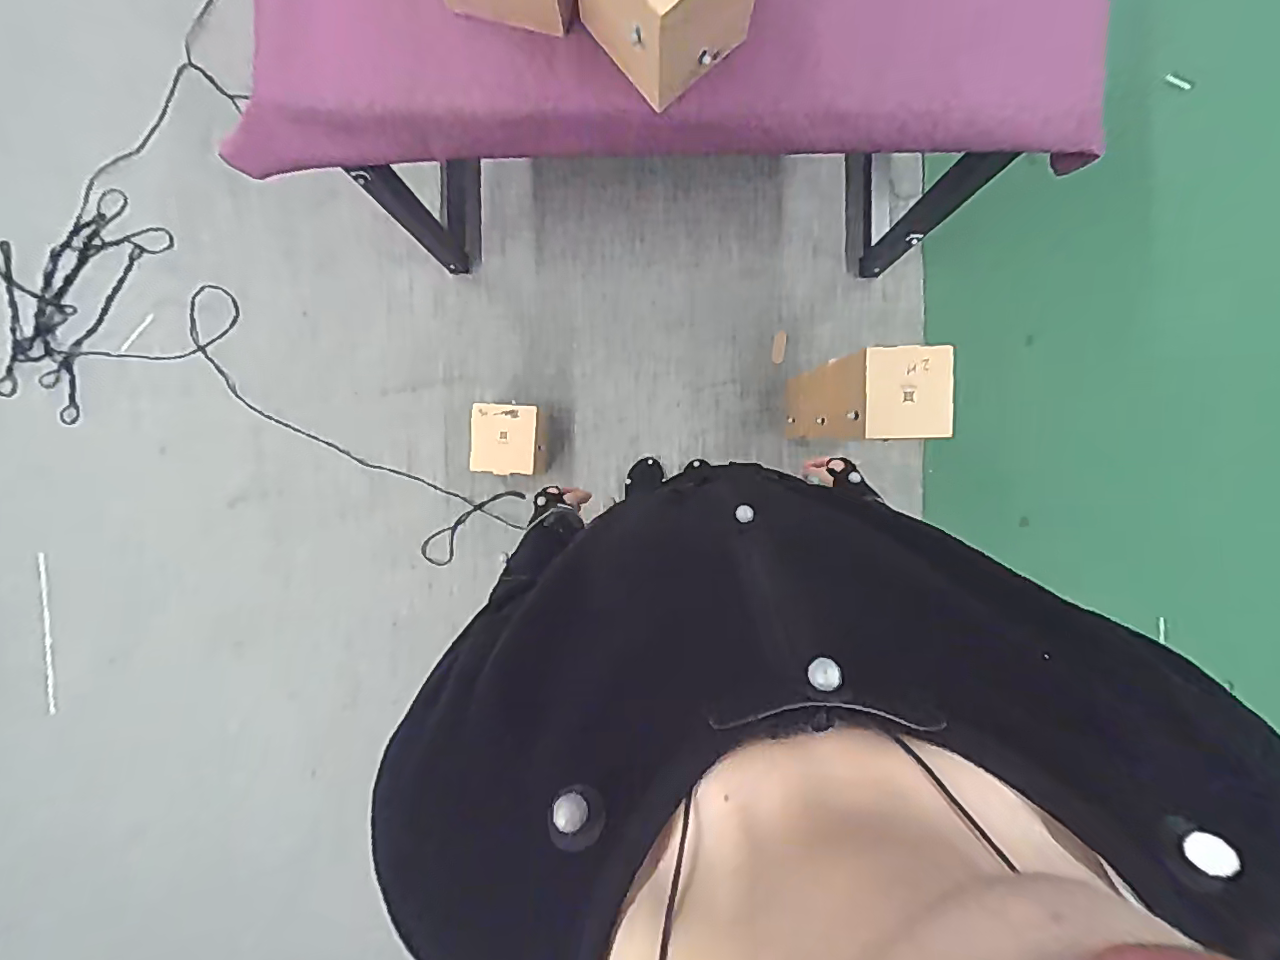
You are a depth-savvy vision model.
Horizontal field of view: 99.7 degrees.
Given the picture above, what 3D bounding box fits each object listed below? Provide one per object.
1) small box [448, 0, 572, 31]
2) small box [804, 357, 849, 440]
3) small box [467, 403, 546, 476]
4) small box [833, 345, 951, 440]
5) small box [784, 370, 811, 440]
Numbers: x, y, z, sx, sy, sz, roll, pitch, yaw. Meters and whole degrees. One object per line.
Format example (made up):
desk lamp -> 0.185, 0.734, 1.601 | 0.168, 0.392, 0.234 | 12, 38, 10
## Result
small box -> -0.176, -0.730, 0.691 | 0.179, 0.176, 0.168 | 13, 92, 0
small box -> 0.488, -0.184, 1.259 | 0.168, 0.176, 0.179 | -1, 93, 1
small box -> -0.348, -0.105, 1.433 | 0.168, 0.176, 0.179 | 4, 92, 1
small box -> 0.500, -0.169, 1.095 | 0.168, 0.176, 0.179 | -1, 92, 1
small box -> 0.485, -0.191, 1.420 | 0.179, 0.176, 0.168 | 1, 92, 0
